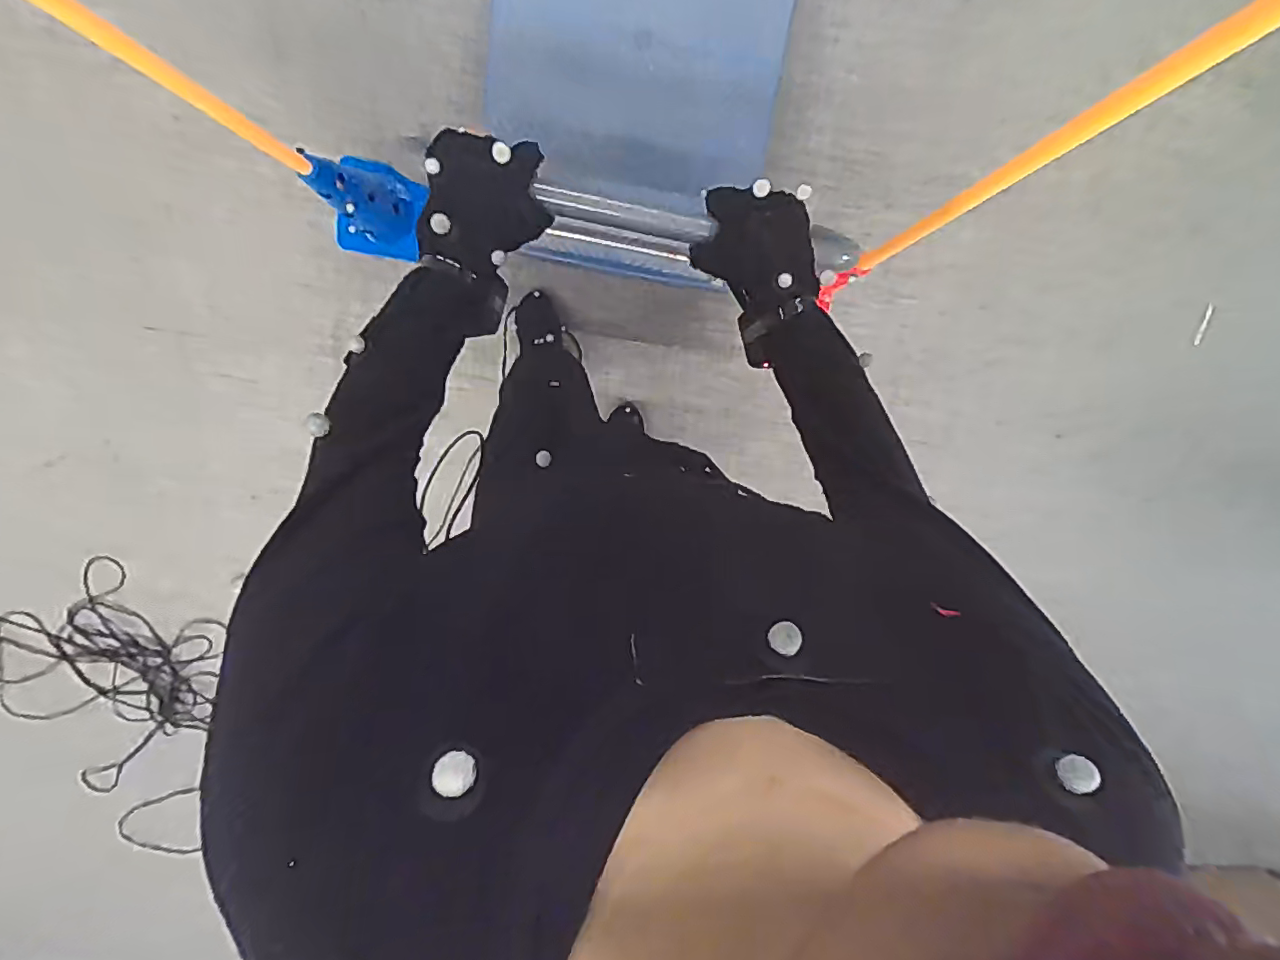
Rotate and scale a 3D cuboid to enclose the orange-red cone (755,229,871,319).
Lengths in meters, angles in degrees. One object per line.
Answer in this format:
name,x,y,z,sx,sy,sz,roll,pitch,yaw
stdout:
orange-red cone,0.415,-0.478,1.214,0.199,0.360,0.198,8,104,-6
